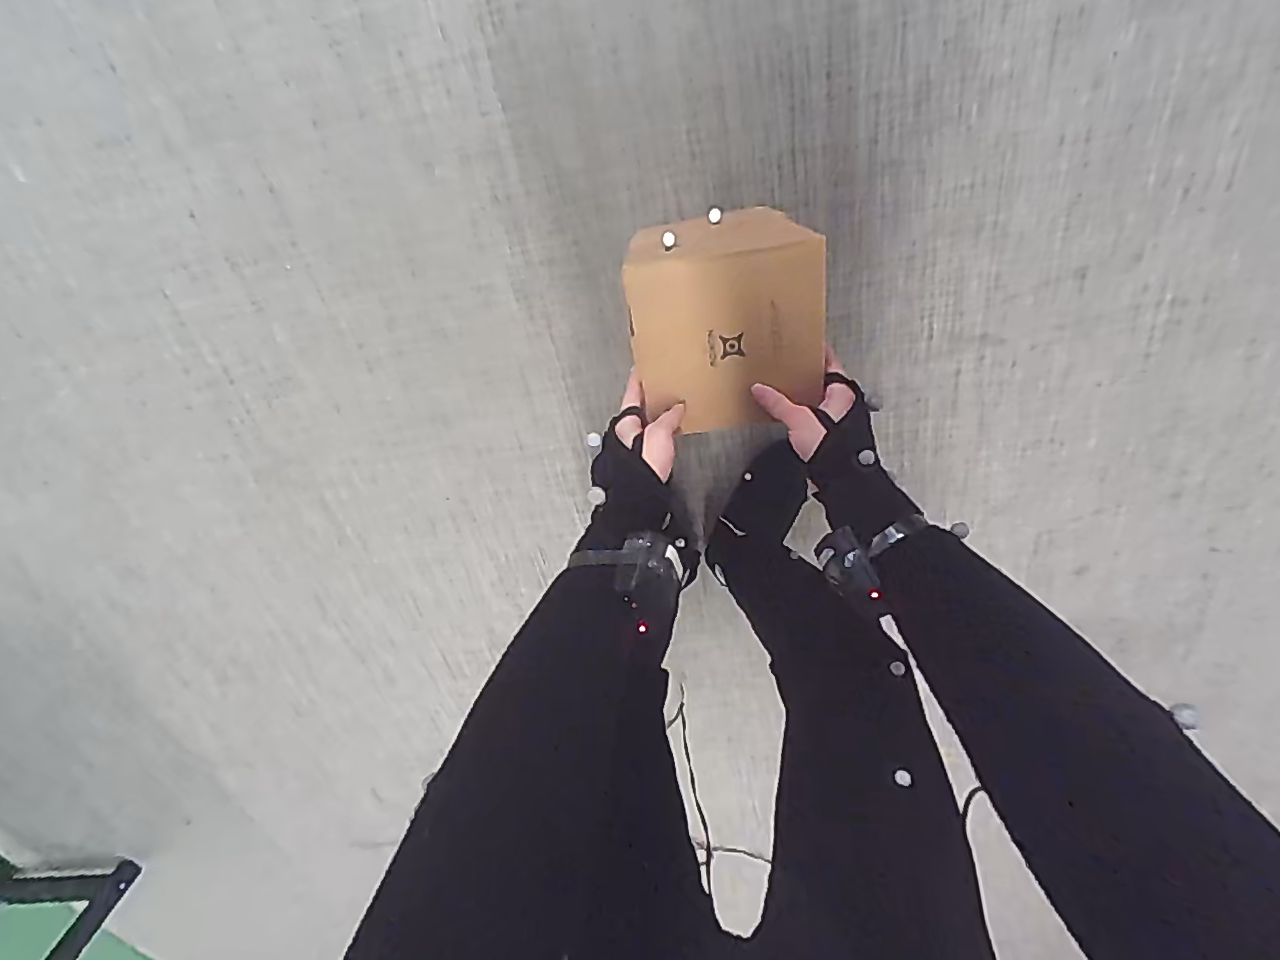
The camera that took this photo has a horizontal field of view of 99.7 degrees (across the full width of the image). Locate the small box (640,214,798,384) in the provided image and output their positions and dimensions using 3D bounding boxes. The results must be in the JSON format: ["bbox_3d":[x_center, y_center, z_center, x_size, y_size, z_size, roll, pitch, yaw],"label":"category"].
[{"bbox_3d":[0.099,-0.241,0.707,0.179,0.176,0.168,-8,118,7],"label":"small box"}]
